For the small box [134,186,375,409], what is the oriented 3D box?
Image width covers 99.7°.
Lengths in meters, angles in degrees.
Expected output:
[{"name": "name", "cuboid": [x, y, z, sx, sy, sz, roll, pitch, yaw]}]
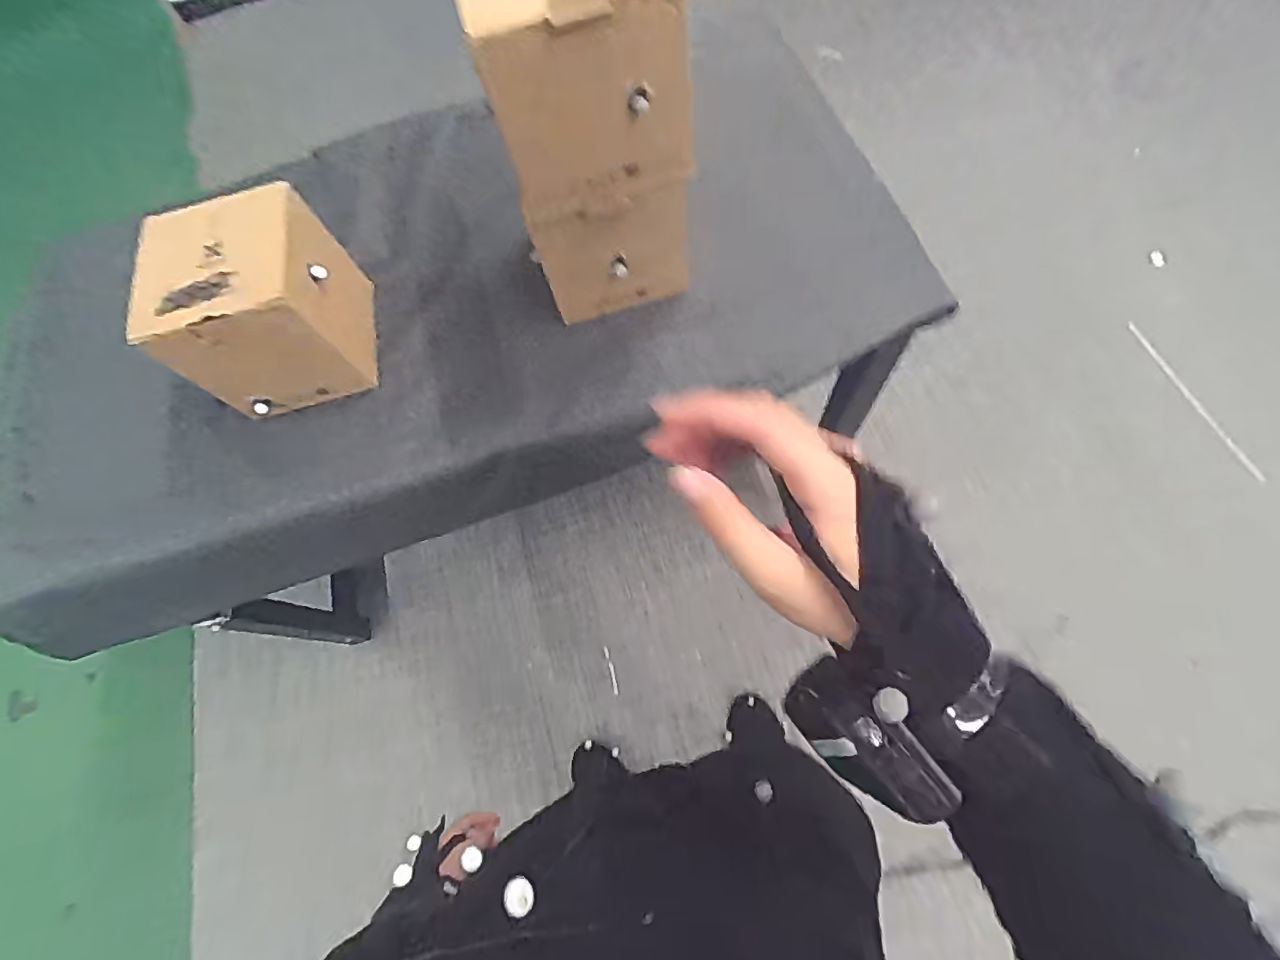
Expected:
[{"name": "small box", "cuboid": [-0.441, -0.203, 0.648, 0.168, 0.176, 0.179, -15, 67, 0]}]

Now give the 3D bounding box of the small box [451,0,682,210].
[{"name": "small box", "cuboid": [-0.063, -0.380, 0.496, 0.168, 0.176, 0.179, -18, 67, -1]}]

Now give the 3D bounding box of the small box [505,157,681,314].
[{"name": "small box", "cuboid": [-0.052, -0.324, 0.649, 0.168, 0.176, 0.179, -17, 68, 0]}]
